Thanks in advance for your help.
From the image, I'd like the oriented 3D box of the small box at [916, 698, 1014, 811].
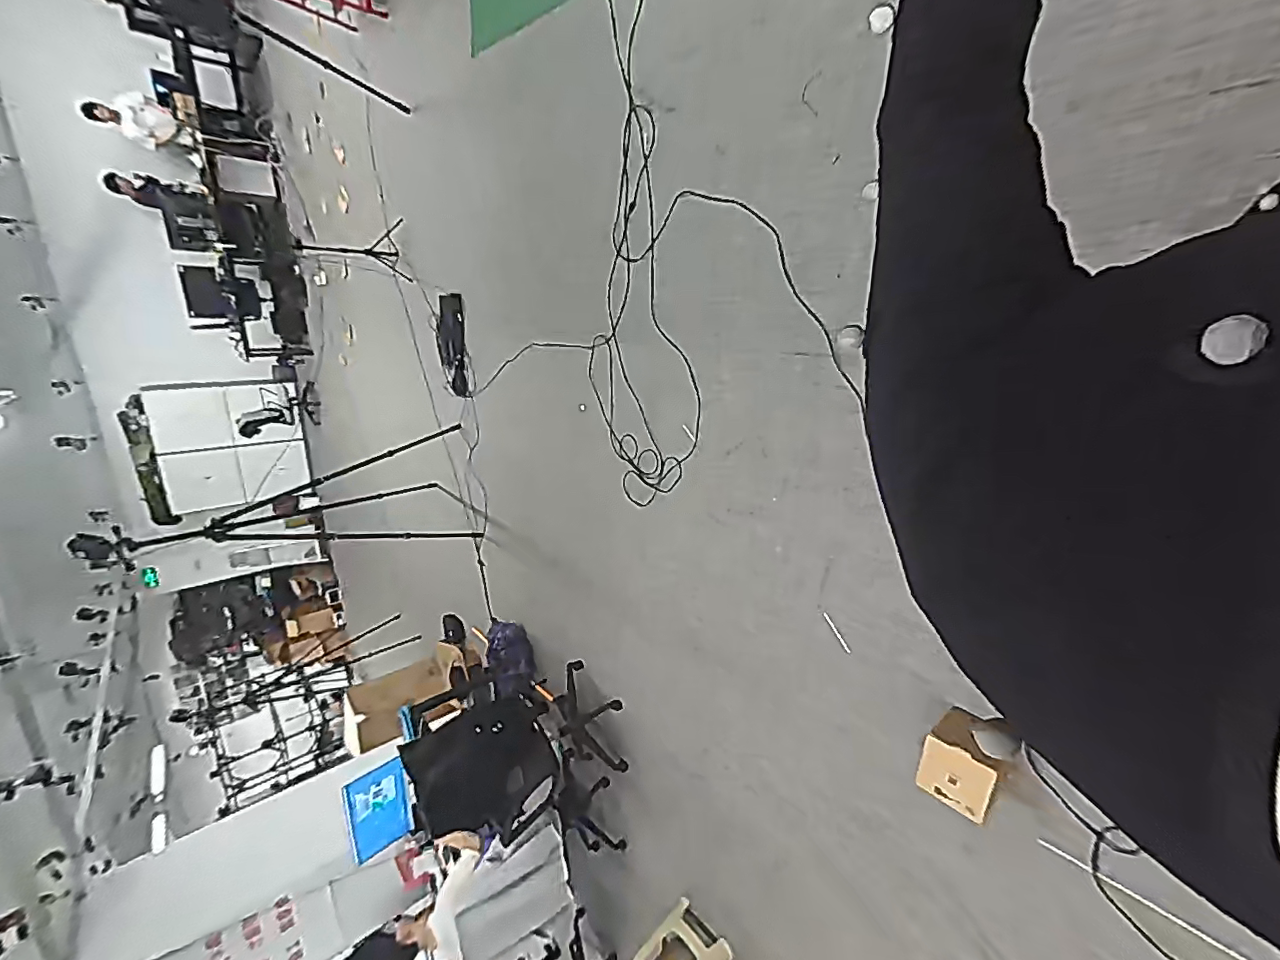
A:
[{"bbox_3d":[0.878,0.728,1.457,0.168,0.176,0.179,23,117,44],"label":"small box"}]
